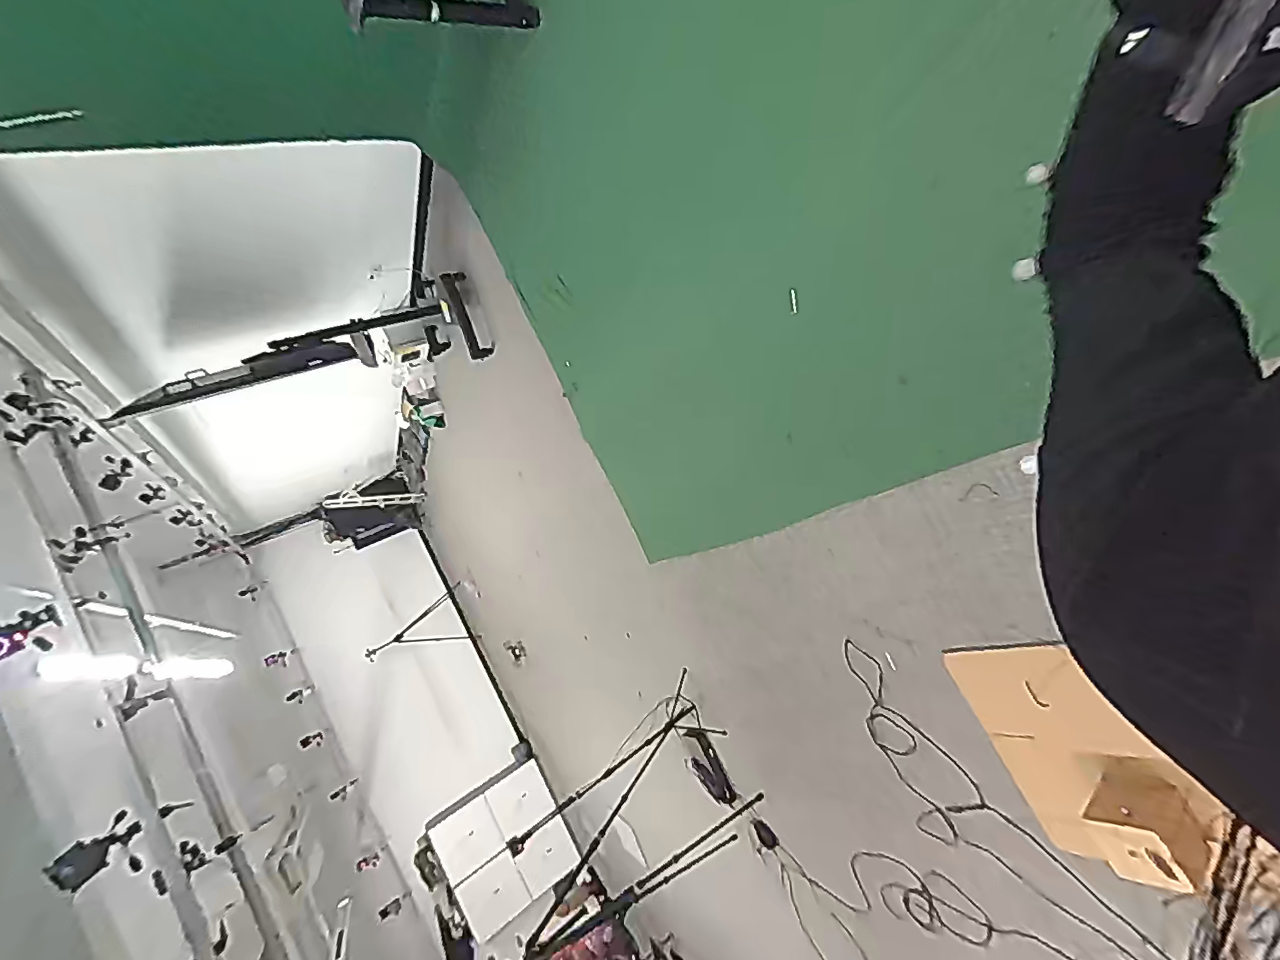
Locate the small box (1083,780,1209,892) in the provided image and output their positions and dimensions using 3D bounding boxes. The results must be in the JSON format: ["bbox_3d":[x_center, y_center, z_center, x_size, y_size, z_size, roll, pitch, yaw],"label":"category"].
[{"bbox_3d":[1.323,0.914,1.410,0.168,0.176,0.179,60,149,8],"label":"small box"}]
